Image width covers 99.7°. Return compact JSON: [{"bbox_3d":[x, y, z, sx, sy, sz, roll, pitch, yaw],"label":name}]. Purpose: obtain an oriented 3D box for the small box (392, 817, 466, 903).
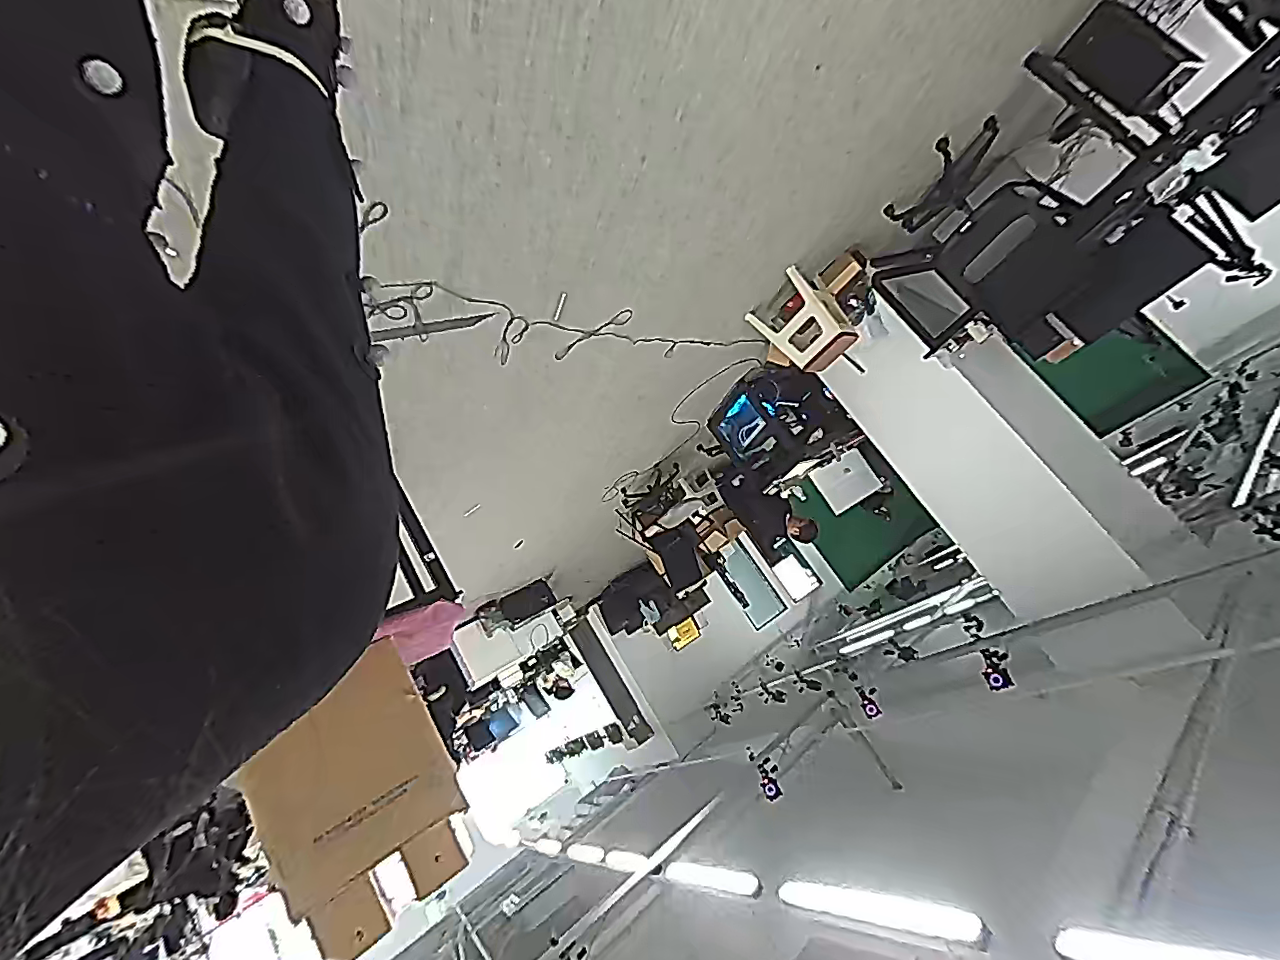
[{"bbox_3d":[-0.725,1.292,1.845,0.179,0.176,0.168,-23,163,-38],"label":"small box"}]
